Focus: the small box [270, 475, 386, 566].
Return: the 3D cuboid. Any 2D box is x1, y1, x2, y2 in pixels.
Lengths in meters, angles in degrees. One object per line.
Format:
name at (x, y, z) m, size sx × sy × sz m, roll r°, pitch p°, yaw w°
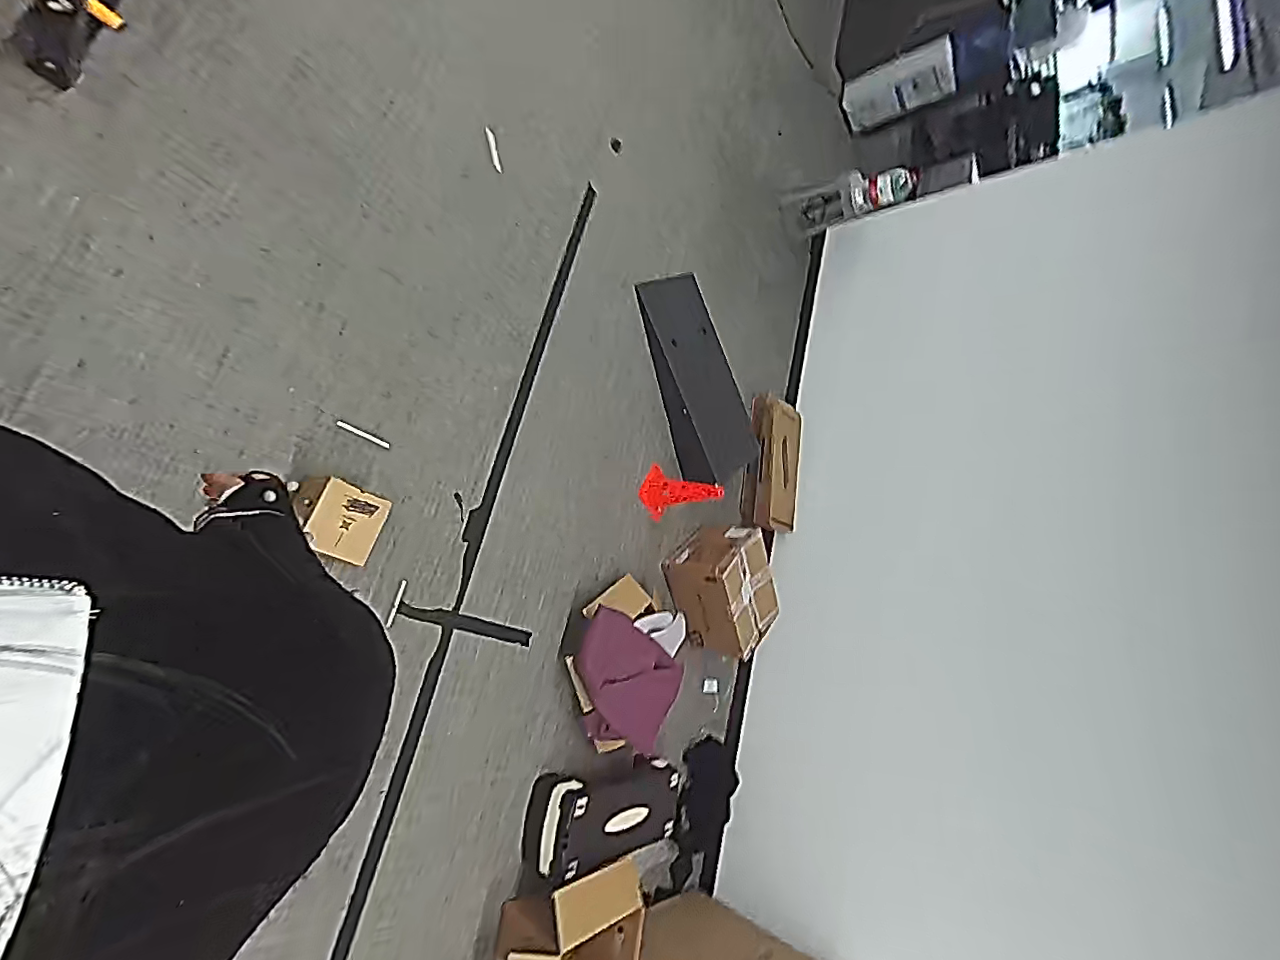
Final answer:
small box at (-0.785, 0.099, 1.357) m, size 0.168 × 0.176 × 0.179 m, roll 38°, pitch 62°, yaw -44°
